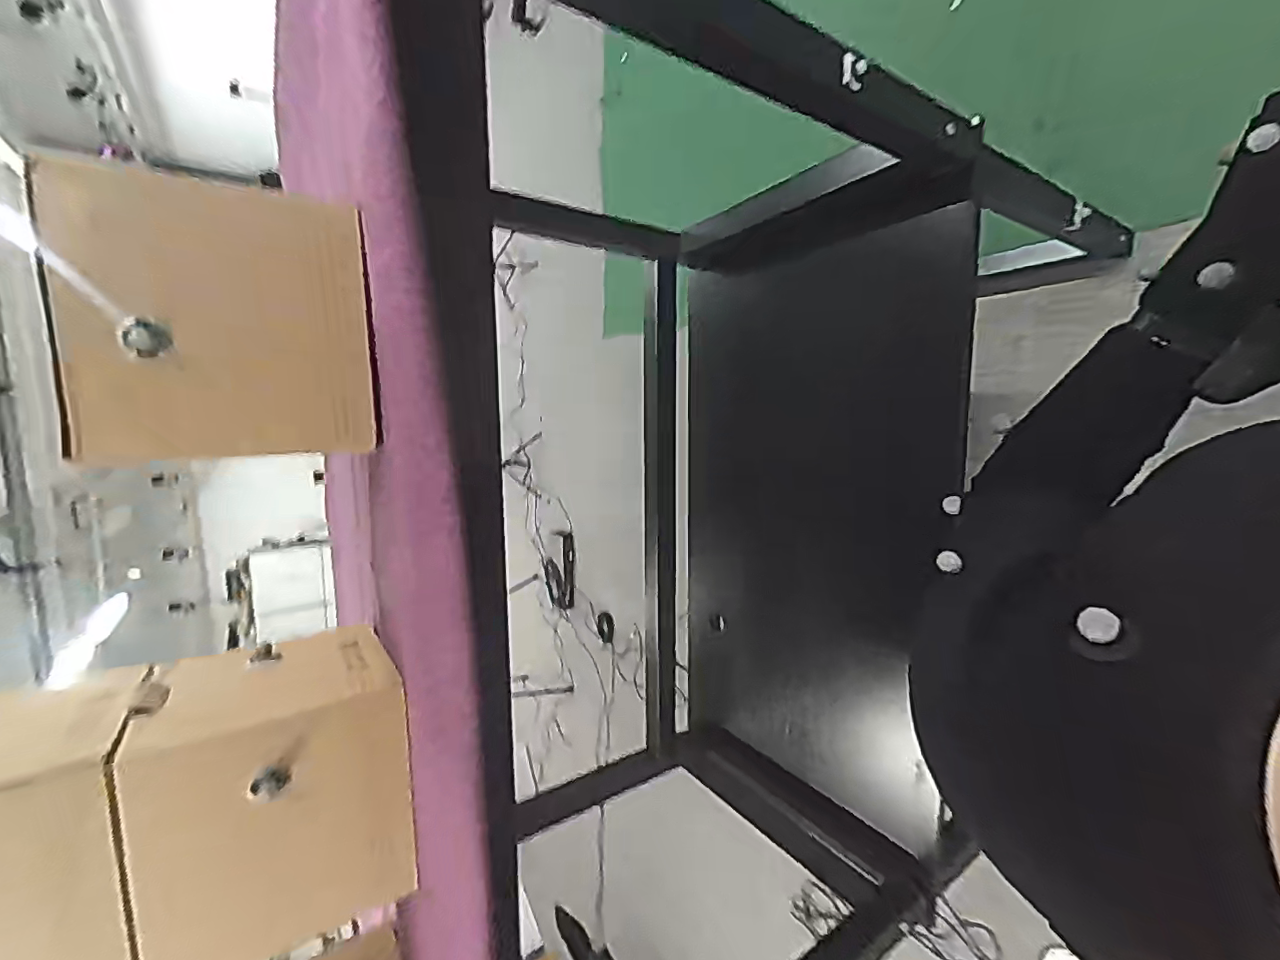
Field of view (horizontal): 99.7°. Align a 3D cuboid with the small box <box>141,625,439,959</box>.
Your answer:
[{"bbox_3d":[-0.276,0.237,0.446,0.168,0.176,0.179,7,101,56],"label":"small box"}]

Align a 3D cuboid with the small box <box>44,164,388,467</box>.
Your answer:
[{"bbox_3d":[-0.300,-0.110,0.422,0.168,0.176,0.179,12,105,57],"label":"small box"}]

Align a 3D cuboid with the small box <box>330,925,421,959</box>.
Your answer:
[{"bbox_3d":[-0.267,0.557,0.475,0.179,0.176,0.168,7,99,55],"label":"small box"}]
